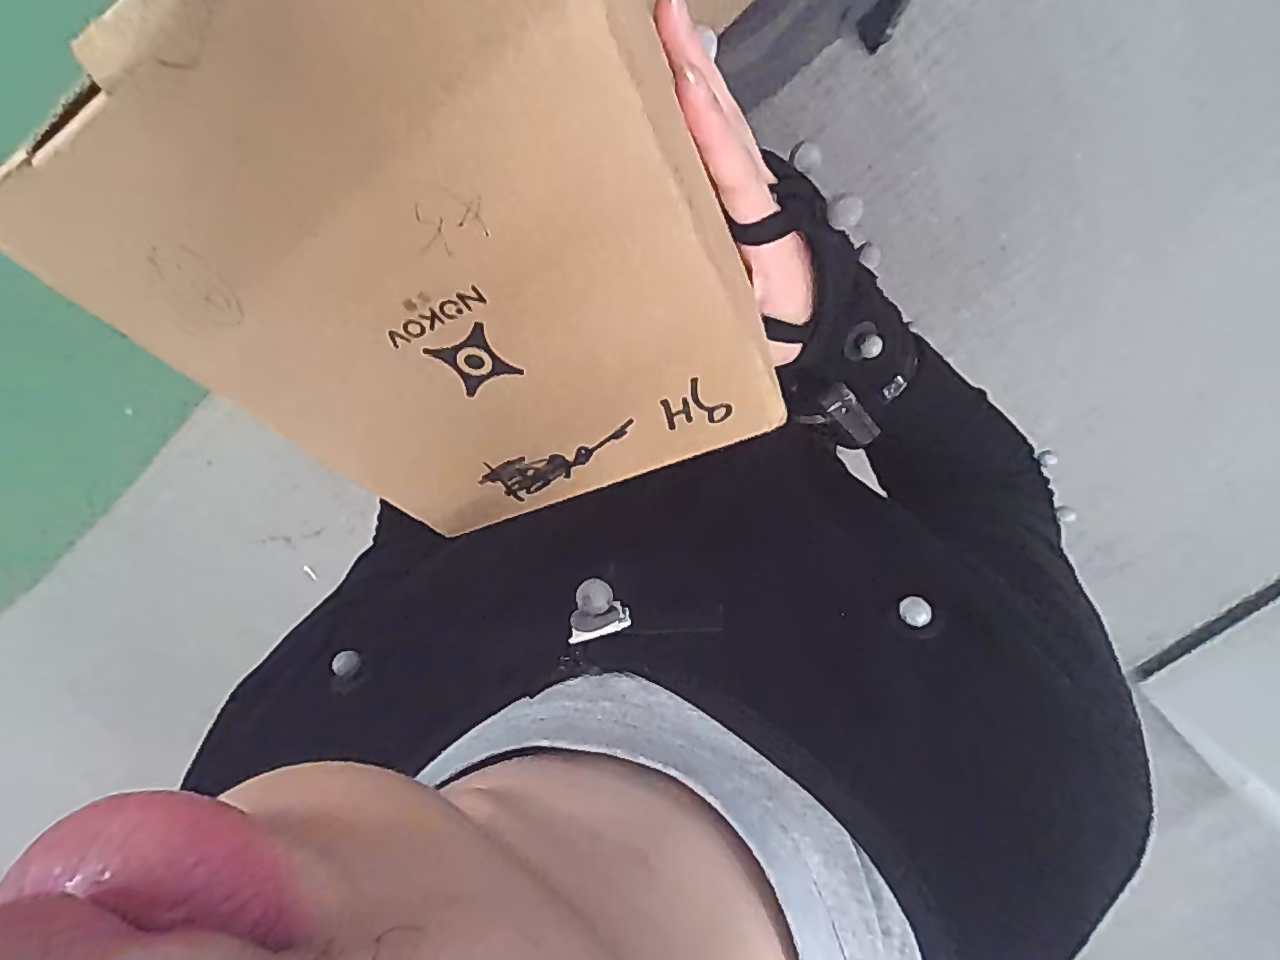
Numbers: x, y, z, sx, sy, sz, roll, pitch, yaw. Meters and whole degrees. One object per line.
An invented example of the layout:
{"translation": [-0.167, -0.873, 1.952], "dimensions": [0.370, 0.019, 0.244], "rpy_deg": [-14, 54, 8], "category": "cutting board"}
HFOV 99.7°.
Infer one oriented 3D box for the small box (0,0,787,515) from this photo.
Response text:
{"translation": [-0.054, -0.116, 0.217], "dimensions": [0.168, 0.176, 0.179], "rpy_deg": [-17, 139, 19], "category": "small box"}
